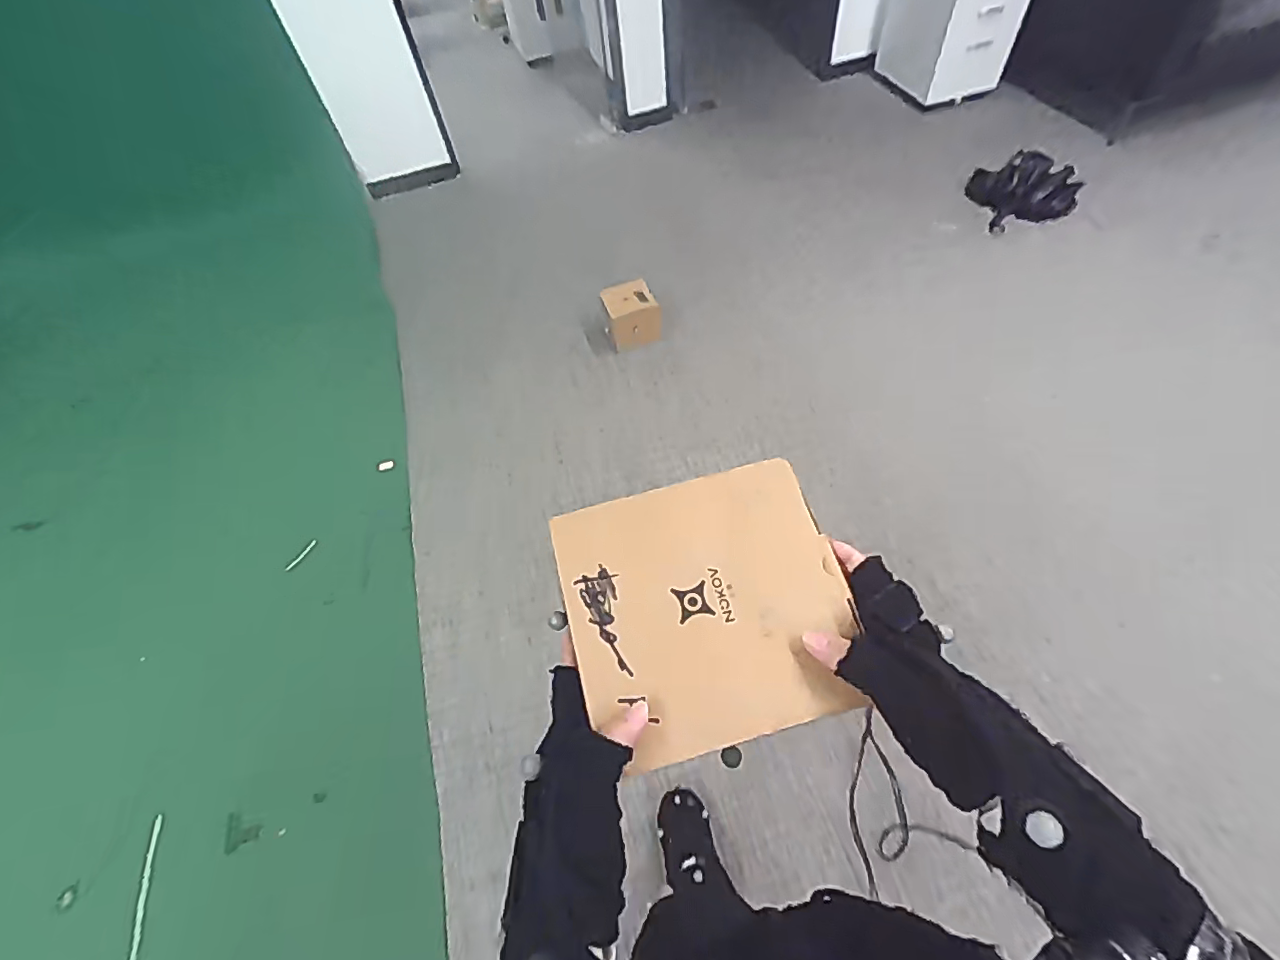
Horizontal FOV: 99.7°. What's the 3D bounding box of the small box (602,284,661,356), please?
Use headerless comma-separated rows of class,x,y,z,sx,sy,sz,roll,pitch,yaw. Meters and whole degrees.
small box,-0.027,-0.593,2.011,0.179,0.176,0.168,-19,56,-5

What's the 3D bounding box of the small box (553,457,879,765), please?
small box,0.042,0.107,0.418,0.179,0.176,0.168,-13,63,-6
